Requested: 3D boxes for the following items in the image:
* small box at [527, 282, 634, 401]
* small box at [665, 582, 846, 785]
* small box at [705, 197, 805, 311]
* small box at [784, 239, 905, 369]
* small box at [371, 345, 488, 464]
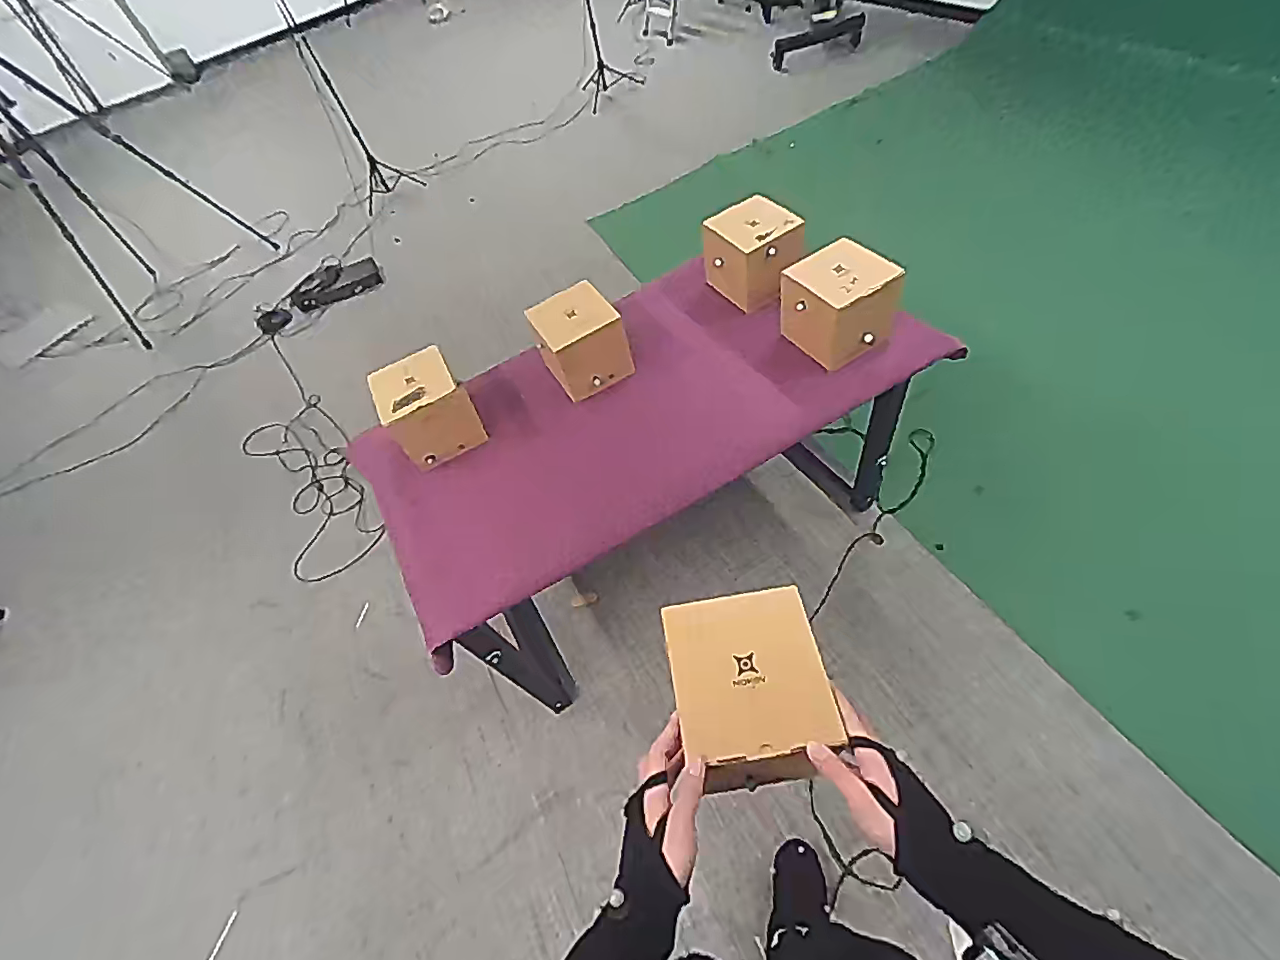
[{"bbox_3d":[-0.132,-0.315,1.244,0.168,0.176,0.179,-30,55,-8],"label":"small box"},{"bbox_3d":[0.123,0.248,0.653,0.168,0.176,0.179,-9,53,0],"label":"small box"},{"bbox_3d":[0.276,-0.543,1.308,0.168,0.176,0.179,-31,54,-9],"label":"small box"},{"bbox_3d":[0.422,-0.370,1.149,0.168,0.176,0.179,-30,54,-7],"label":"small box"},{"bbox_3d":[-0.463,-0.159,1.204,0.168,0.176,0.179,-28,55,-8],"label":"small box"}]
